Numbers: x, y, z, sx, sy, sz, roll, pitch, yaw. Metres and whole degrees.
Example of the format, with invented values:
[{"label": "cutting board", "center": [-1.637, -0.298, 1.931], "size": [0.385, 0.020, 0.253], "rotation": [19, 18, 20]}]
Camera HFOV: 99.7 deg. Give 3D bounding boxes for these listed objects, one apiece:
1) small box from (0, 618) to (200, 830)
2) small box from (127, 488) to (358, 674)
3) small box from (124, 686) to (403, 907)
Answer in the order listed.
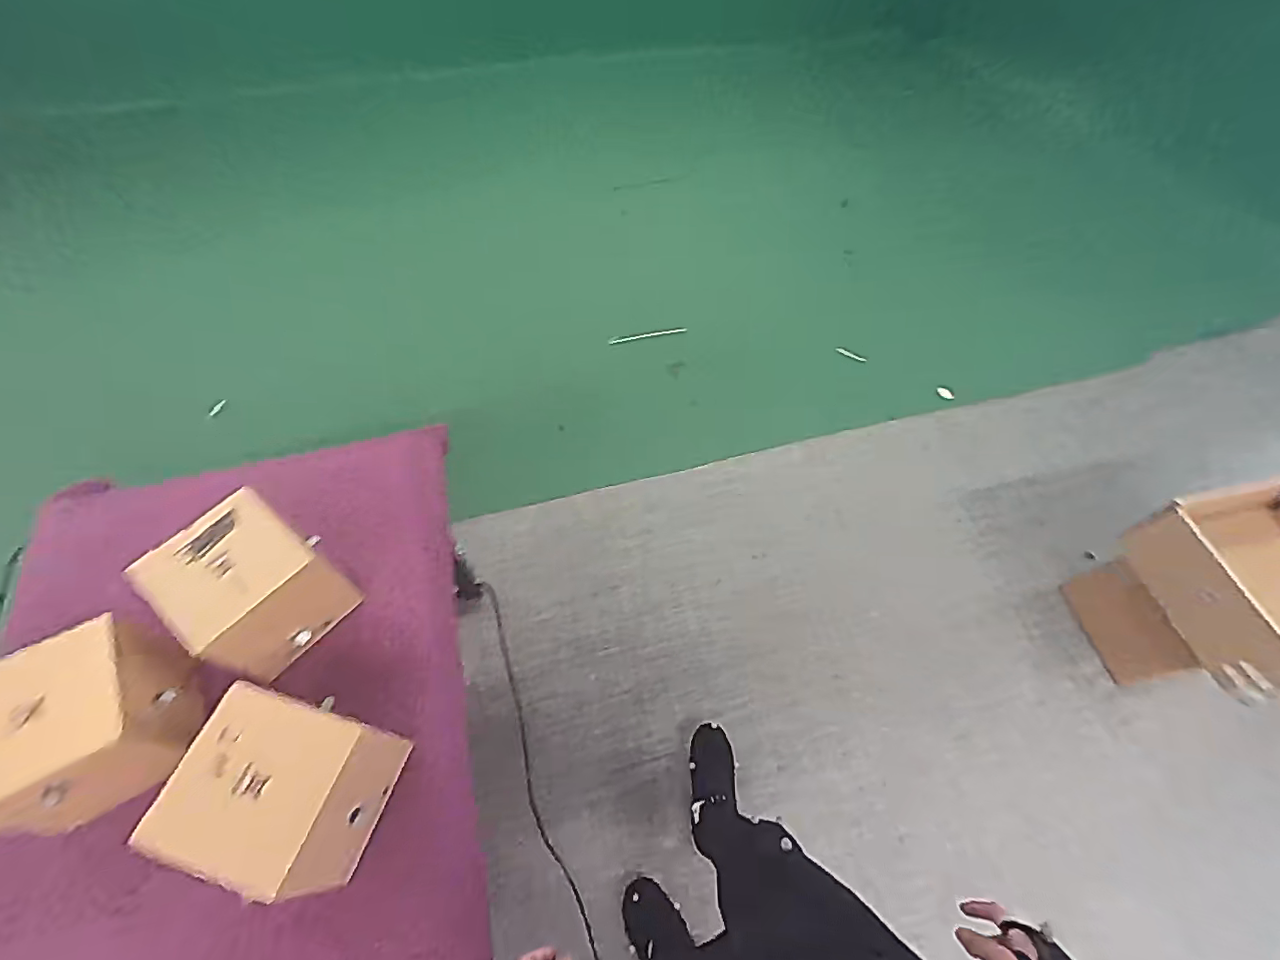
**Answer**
[{"label": "small box", "center": [-0.695, 0.305, 0.676], "size": [0.179, 0.176, 0.168], "rotation": [-27, 63, -17]}, {"label": "small box", "center": [-0.549, 0.150, 0.772], "size": [0.179, 0.176, 0.168], "rotation": [36, 65, 17]}, {"label": "small box", "center": [-0.417, 0.366, 0.641], "size": [0.179, 0.176, 0.168], "rotation": [15, 59, 8]}]
